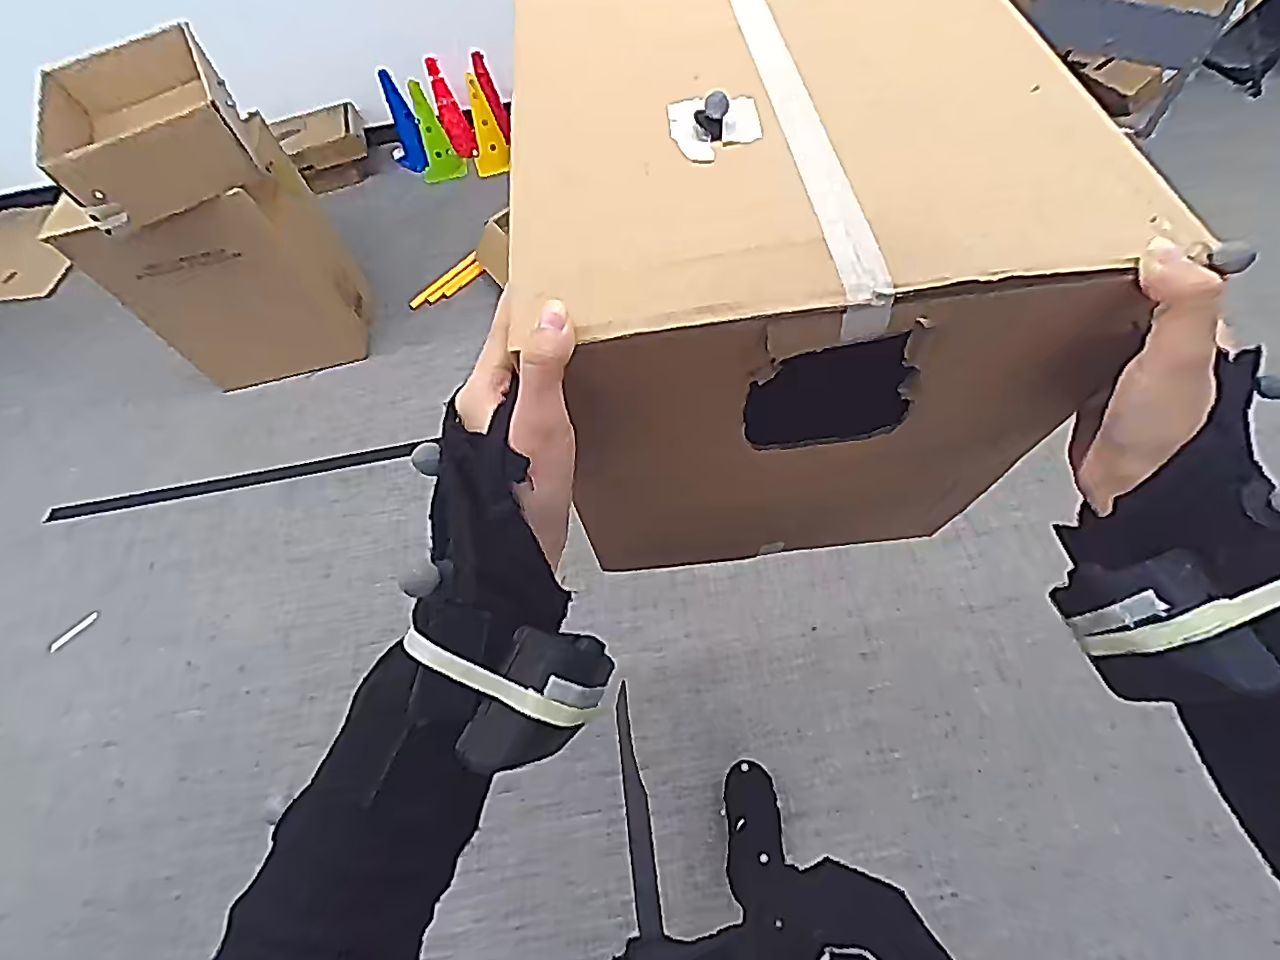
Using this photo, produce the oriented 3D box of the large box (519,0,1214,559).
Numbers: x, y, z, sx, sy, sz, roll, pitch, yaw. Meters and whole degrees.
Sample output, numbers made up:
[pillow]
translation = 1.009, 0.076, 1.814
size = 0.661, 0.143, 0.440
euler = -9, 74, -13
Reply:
[large box]
translation = 0.092, -0.184, 0.464
size = 0.320, 0.320, 0.408
euler = -8, 63, 1
